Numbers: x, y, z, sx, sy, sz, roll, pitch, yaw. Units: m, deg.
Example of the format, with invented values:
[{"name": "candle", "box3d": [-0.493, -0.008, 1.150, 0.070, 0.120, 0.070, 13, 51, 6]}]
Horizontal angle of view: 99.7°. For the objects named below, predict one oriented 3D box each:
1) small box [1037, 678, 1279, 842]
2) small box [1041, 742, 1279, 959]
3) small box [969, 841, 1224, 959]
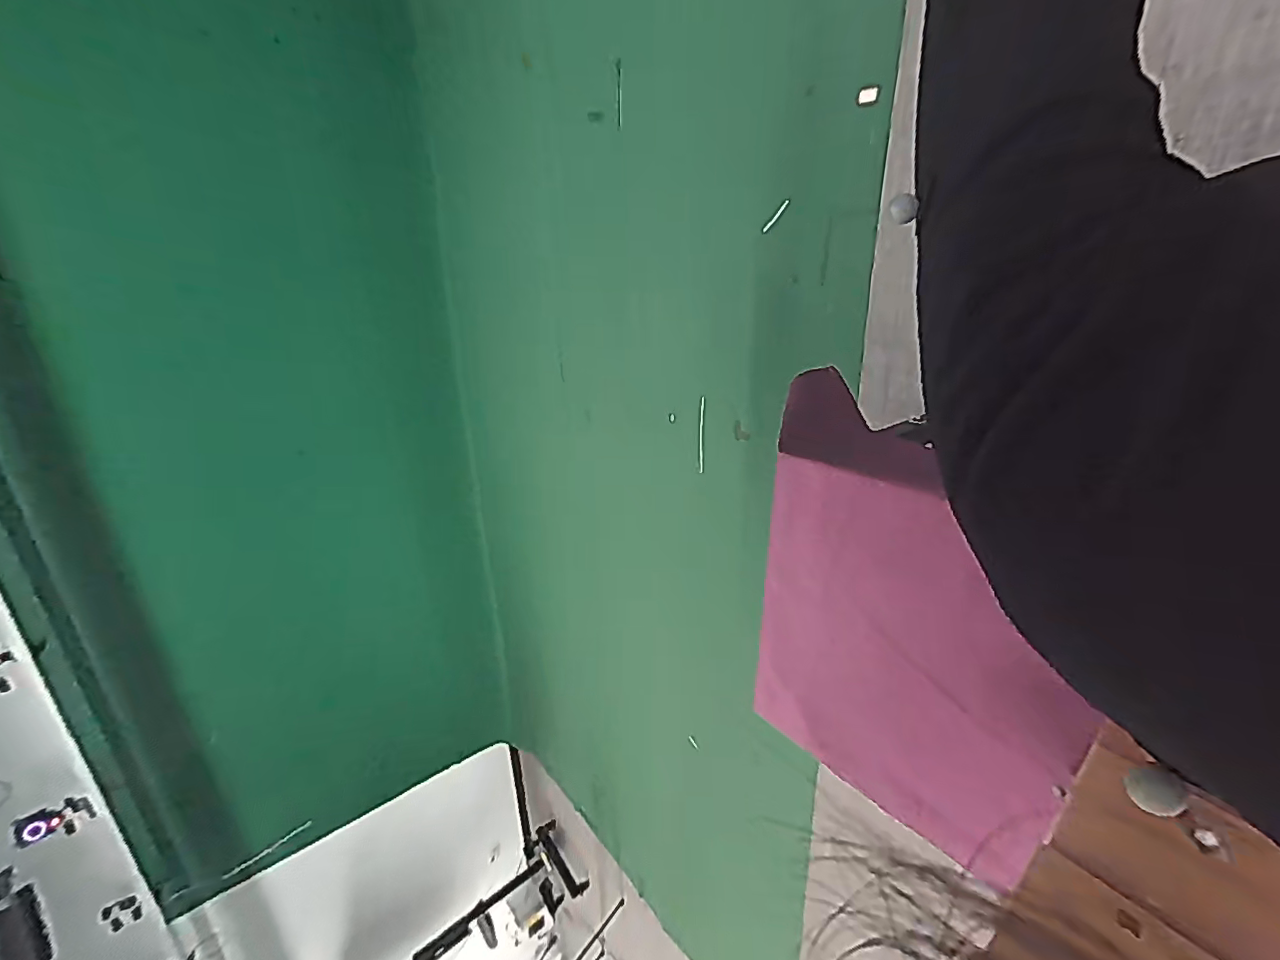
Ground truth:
[{"name": "small box", "box3d": [0.569, 0.353, 0.575, 0.168, 0.176, 0.179, 27, 124, 44]}, {"name": "small box", "box3d": [0.446, 0.378, 0.469, 0.168, 0.176, 0.179, 25, 122, 44]}, {"name": "small box", "box3d": [0.316, 0.406, 0.372, 0.168, 0.176, 0.179, 27, 124, 44]}]
